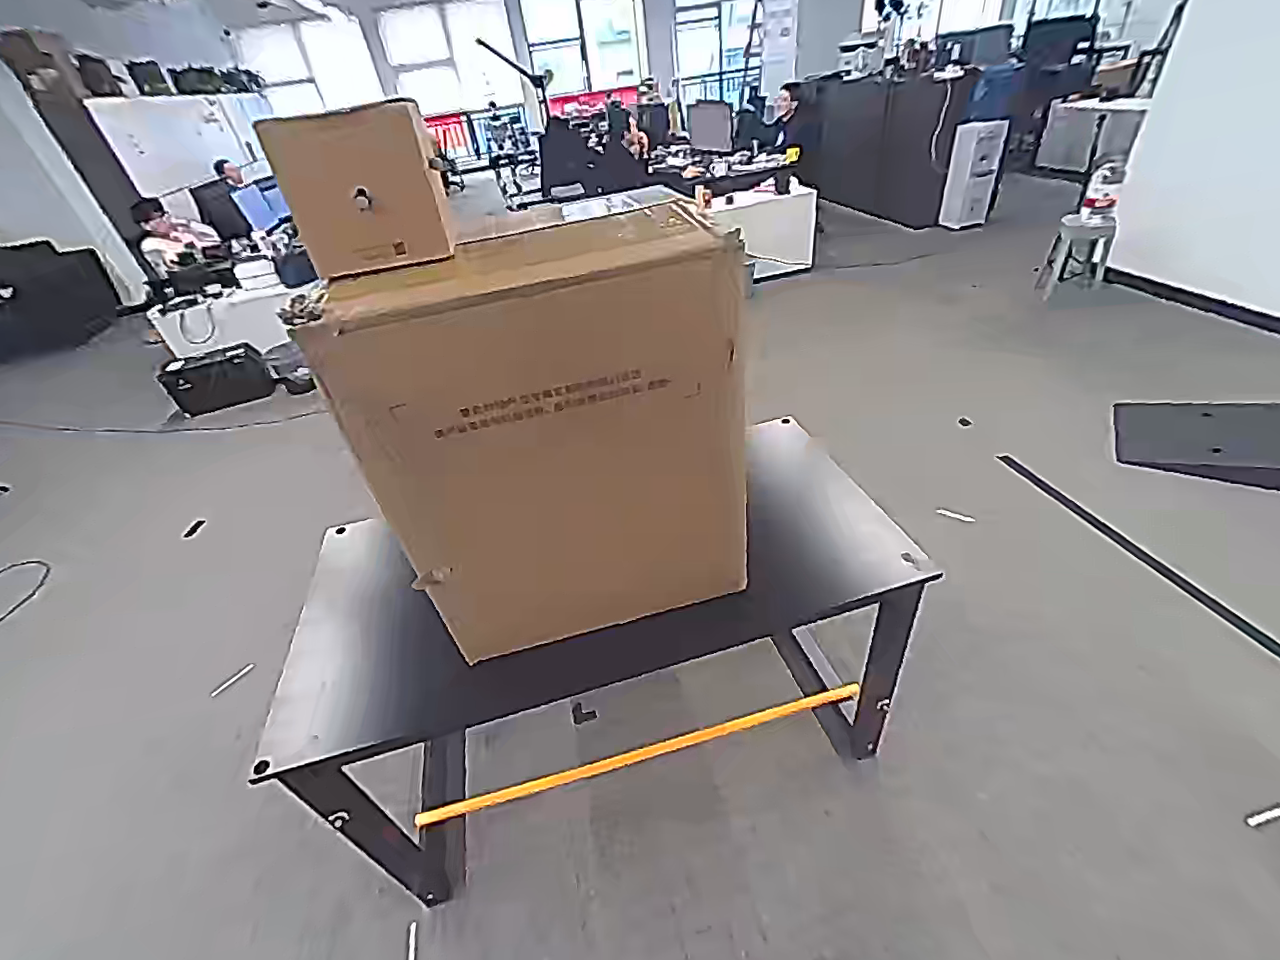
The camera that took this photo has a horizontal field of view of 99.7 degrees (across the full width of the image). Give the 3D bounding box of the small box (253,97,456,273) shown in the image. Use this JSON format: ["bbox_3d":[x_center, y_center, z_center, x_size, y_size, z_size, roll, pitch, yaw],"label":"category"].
[{"bbox_3d":[-0.344,-0.376,0.694,0.168,0.176,0.179,-14,37,-8],"label":"small box"}]
